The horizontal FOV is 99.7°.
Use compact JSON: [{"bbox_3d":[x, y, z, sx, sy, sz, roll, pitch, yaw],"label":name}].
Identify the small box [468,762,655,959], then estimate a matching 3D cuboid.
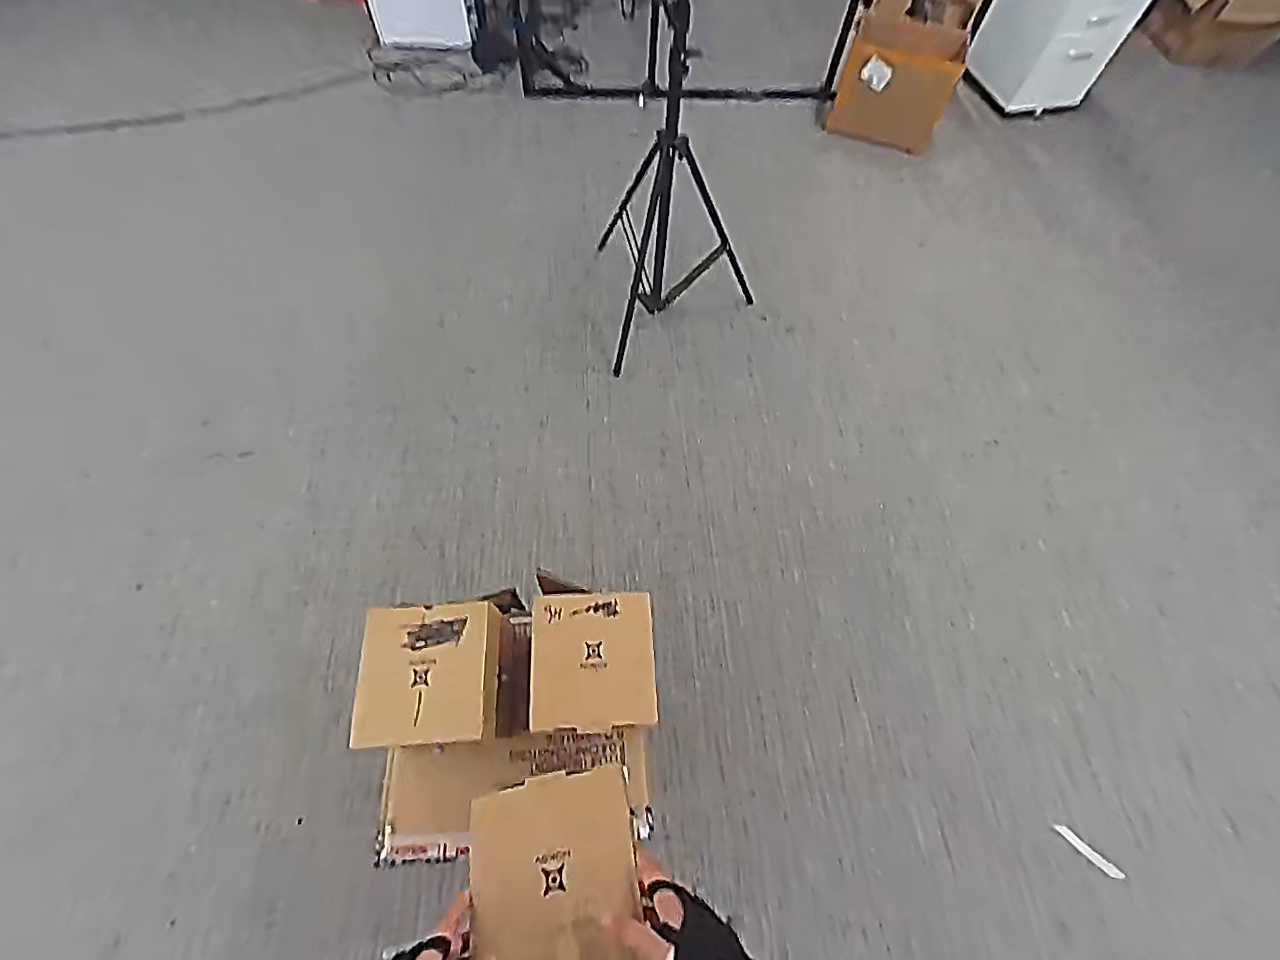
[{"bbox_3d":[-0.080,0.432,0.585,0.168,0.176,0.179,-11,53,-5],"label":"small box"}]
